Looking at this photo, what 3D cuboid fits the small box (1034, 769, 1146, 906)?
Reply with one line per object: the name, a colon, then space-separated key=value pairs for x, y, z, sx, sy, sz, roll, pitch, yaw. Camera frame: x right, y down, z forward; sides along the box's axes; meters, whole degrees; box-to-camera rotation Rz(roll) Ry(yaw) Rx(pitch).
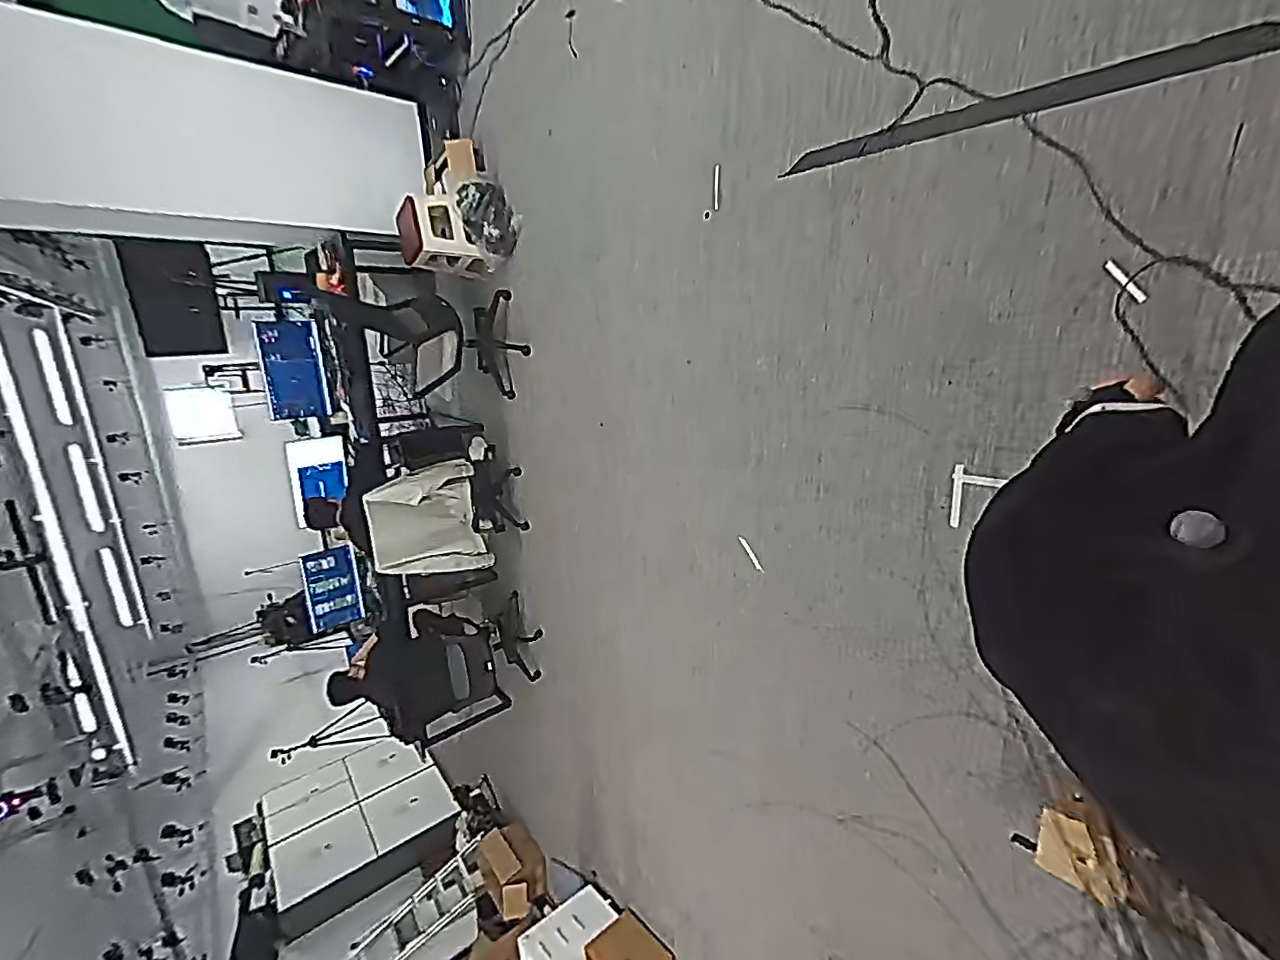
small box: x=1.073 y=0.837 z=1.288 sx=0.168 sy=0.176 sz=0.179 roll=14 pitch=113 yaw=51
